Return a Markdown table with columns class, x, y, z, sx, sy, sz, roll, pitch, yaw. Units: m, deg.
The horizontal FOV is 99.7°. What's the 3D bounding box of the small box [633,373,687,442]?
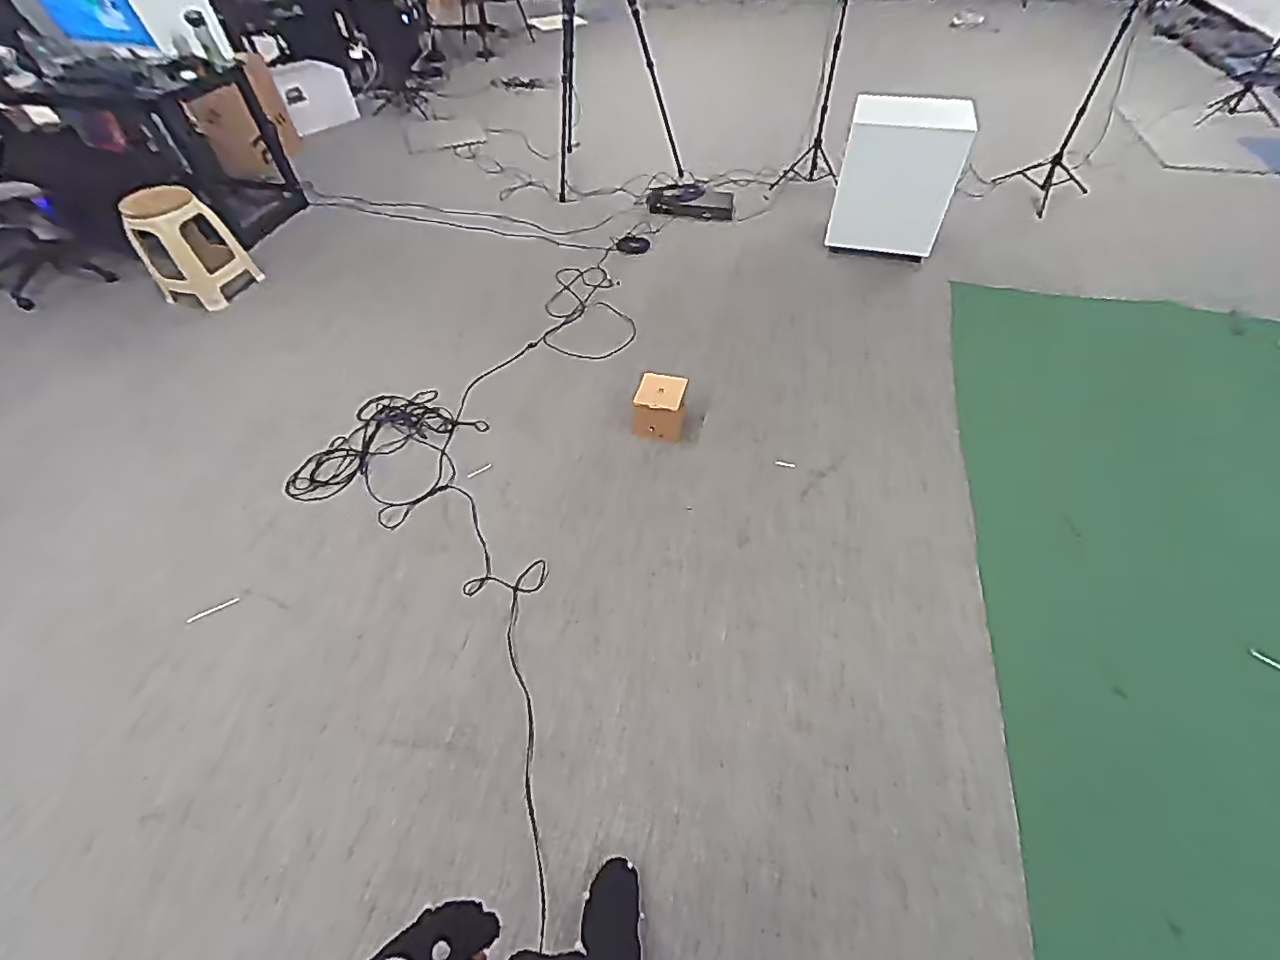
| class | x | y | z | sx | sy | sz | roll | pitch | yaw |
| --- | --- | --- | --- | --- | --- | --- | --- | --- | --- |
| small box | 0.076 | -0.270 | 2.020 | 0.168 | 0.176 | 0.179 | 11 | 52 | 12 |
